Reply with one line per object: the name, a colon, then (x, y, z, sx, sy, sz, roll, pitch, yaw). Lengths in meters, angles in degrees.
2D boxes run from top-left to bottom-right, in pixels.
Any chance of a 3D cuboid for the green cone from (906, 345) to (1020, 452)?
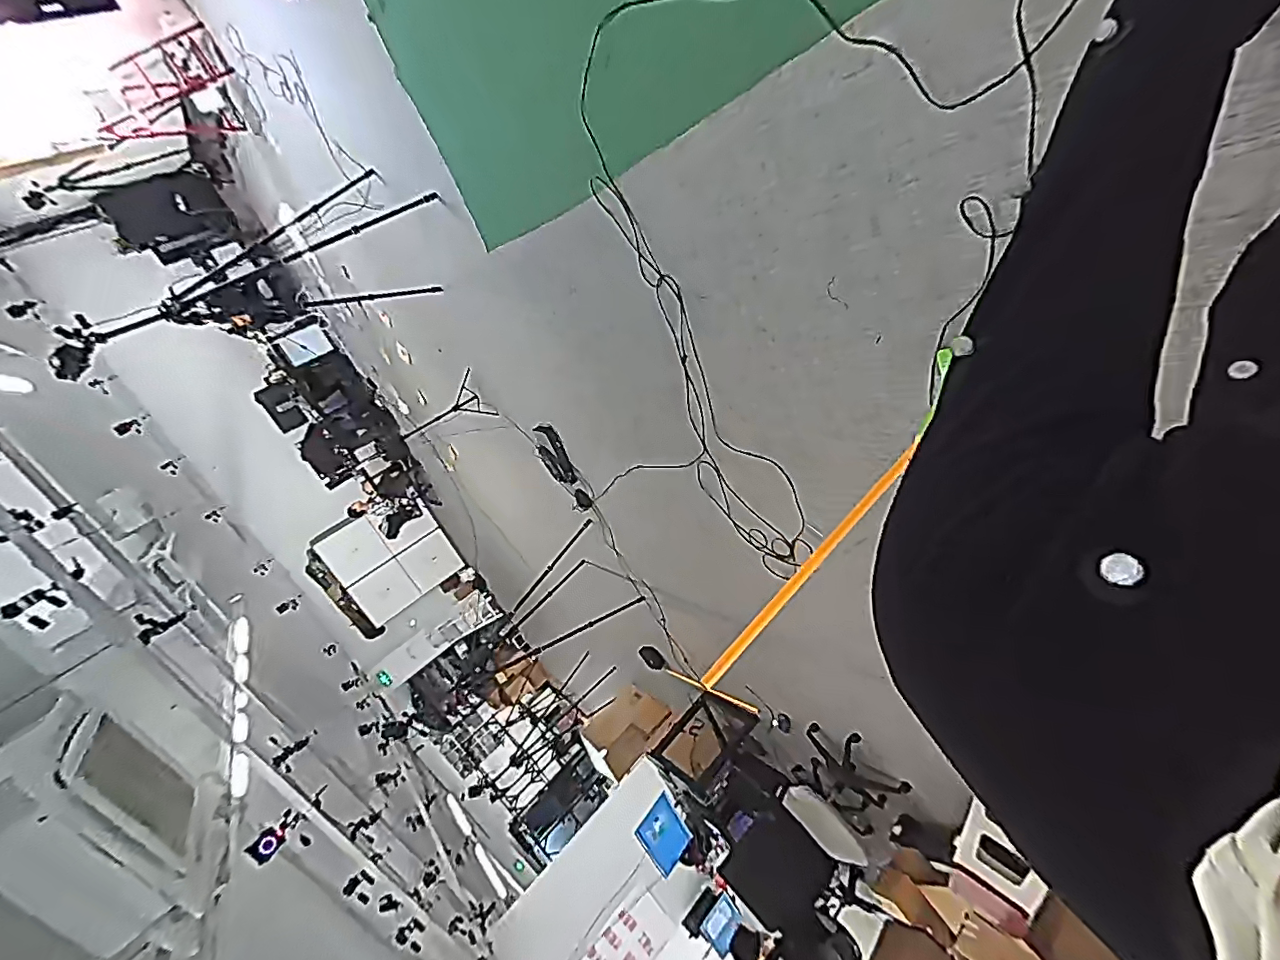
green cone: (0.835, -0.191, 1.465, 0.202, 0.368, 0.200, 5, 127, 57)
